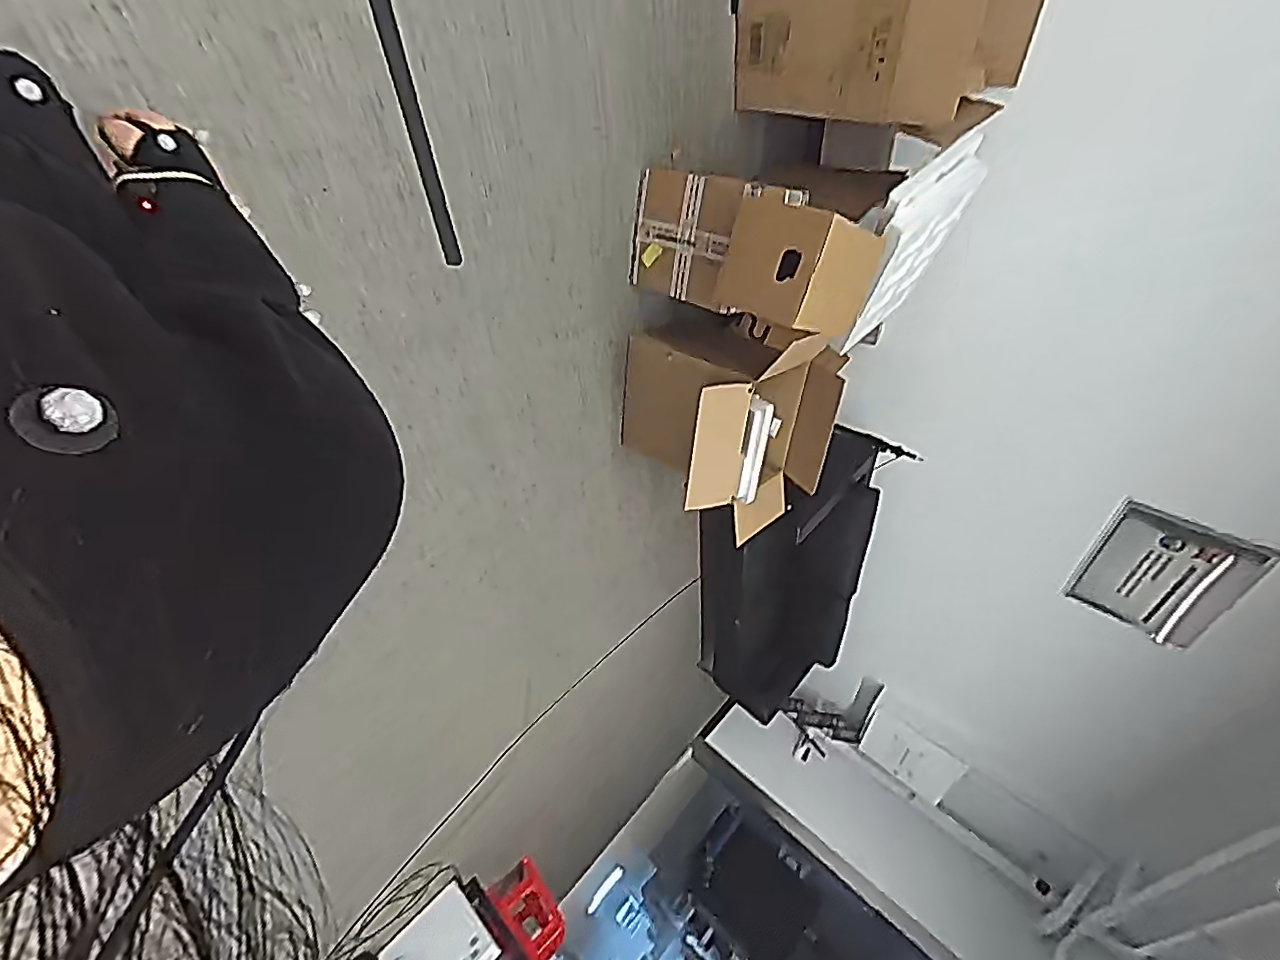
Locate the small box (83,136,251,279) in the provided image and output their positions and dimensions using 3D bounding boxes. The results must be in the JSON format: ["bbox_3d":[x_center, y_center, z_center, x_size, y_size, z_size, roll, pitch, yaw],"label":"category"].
[{"bbox_3d":[-0.895,-0.515,1.021,0.168,0.176,0.179,-59,148,0],"label":"small box"}]
